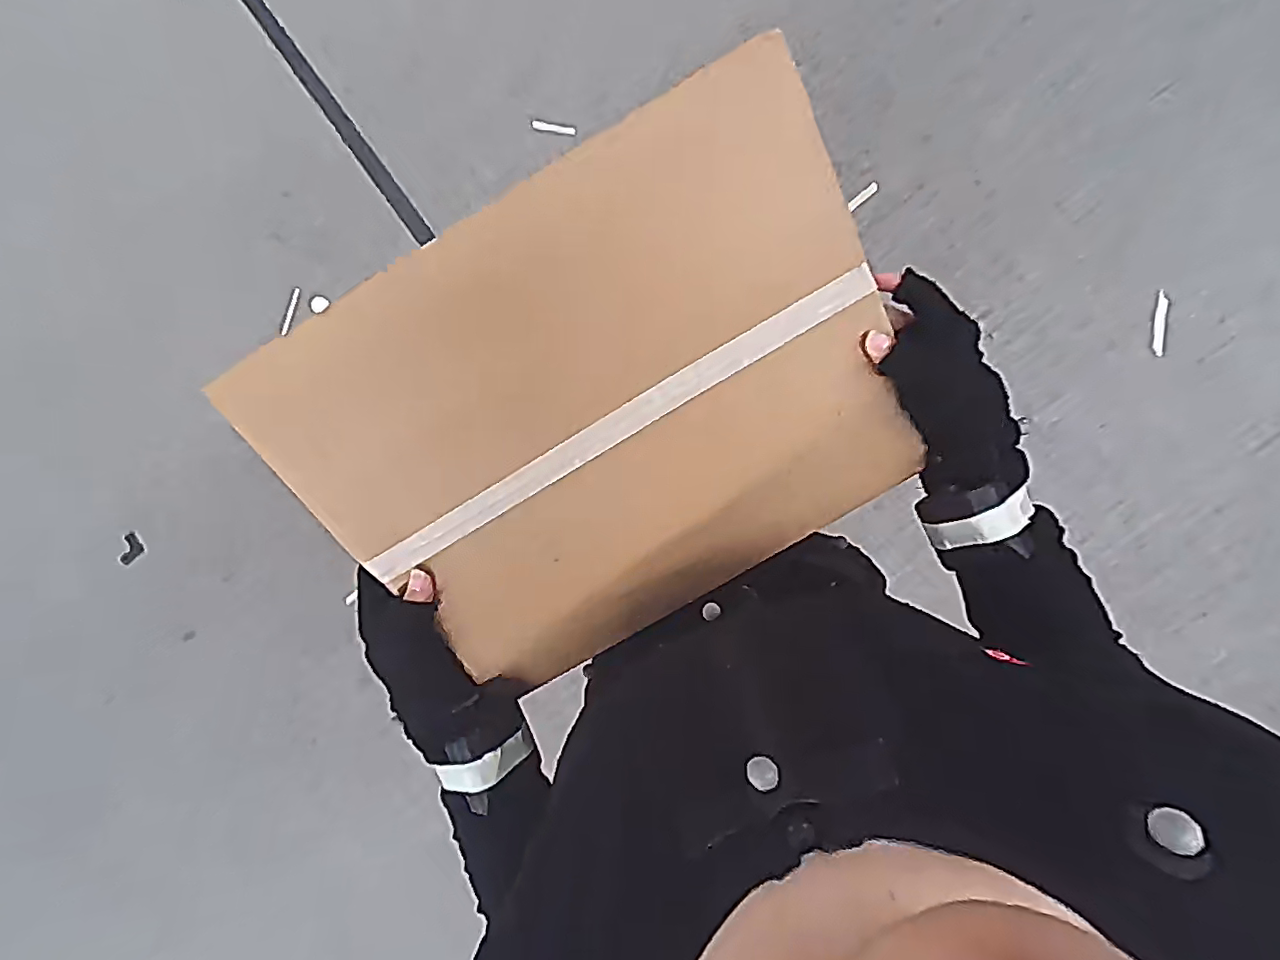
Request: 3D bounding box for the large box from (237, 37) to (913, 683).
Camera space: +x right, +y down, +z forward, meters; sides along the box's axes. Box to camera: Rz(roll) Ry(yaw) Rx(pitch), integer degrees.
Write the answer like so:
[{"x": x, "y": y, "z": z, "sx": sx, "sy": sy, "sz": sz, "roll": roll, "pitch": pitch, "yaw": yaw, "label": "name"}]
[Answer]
[{"x": -0.044, "y": -0.096, "z": 0.529, "sx": 0.408, "sy": 0.320, "sz": 0.320, "roll": -30, "pitch": 113, "yaw": 4, "label": "large box"}]
